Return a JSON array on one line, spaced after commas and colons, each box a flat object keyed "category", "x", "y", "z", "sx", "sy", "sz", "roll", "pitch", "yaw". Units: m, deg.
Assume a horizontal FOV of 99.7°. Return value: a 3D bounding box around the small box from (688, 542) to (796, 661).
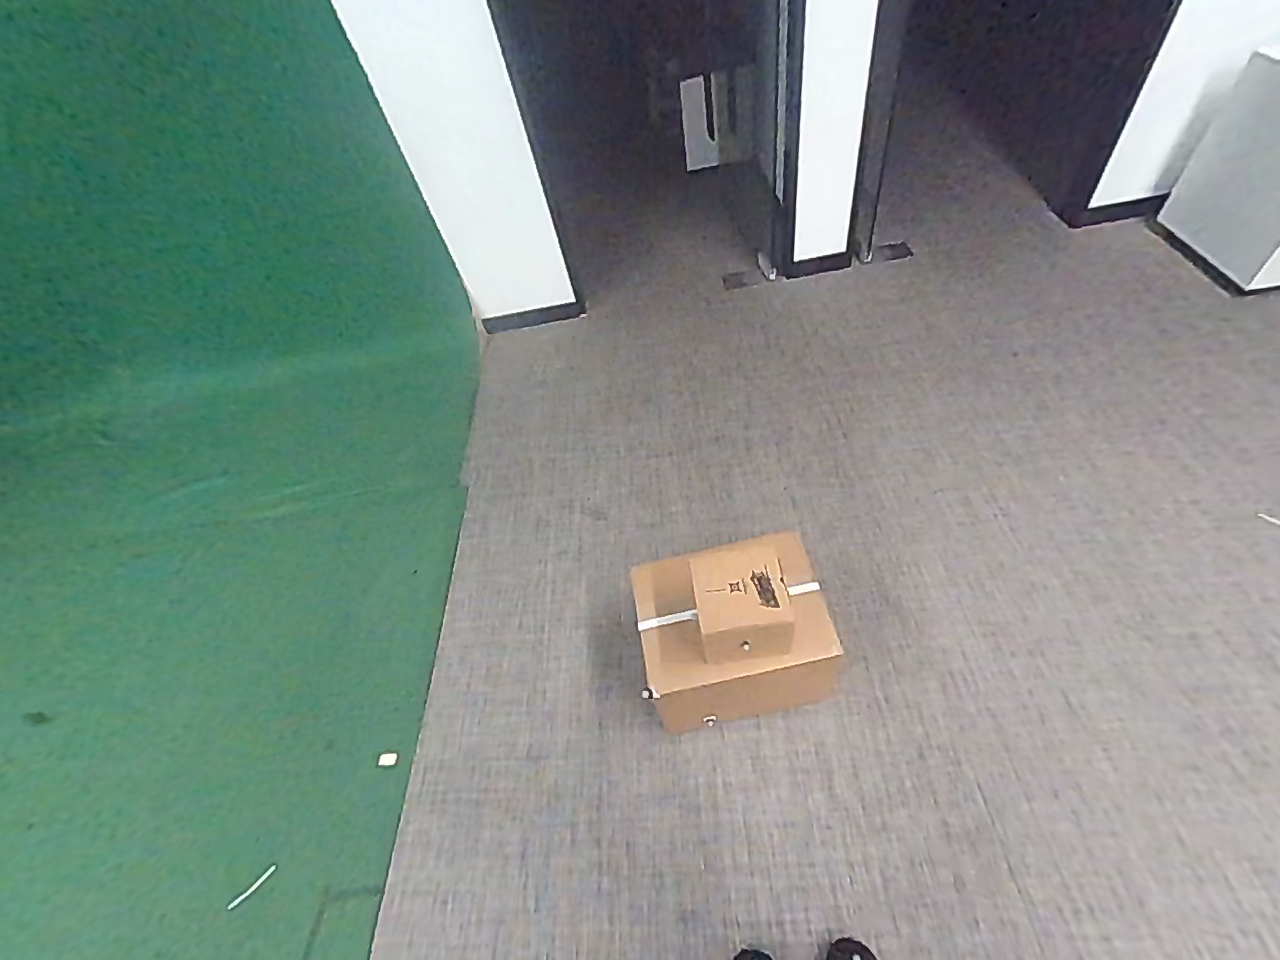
[{"category": "small box", "x": 0.200, "y": 0.250, "z": 1.093, "sx": 0.179, "sy": 0.176, "sz": 0.168, "roll": -11, "pitch": 52, "yaw": 2}]
